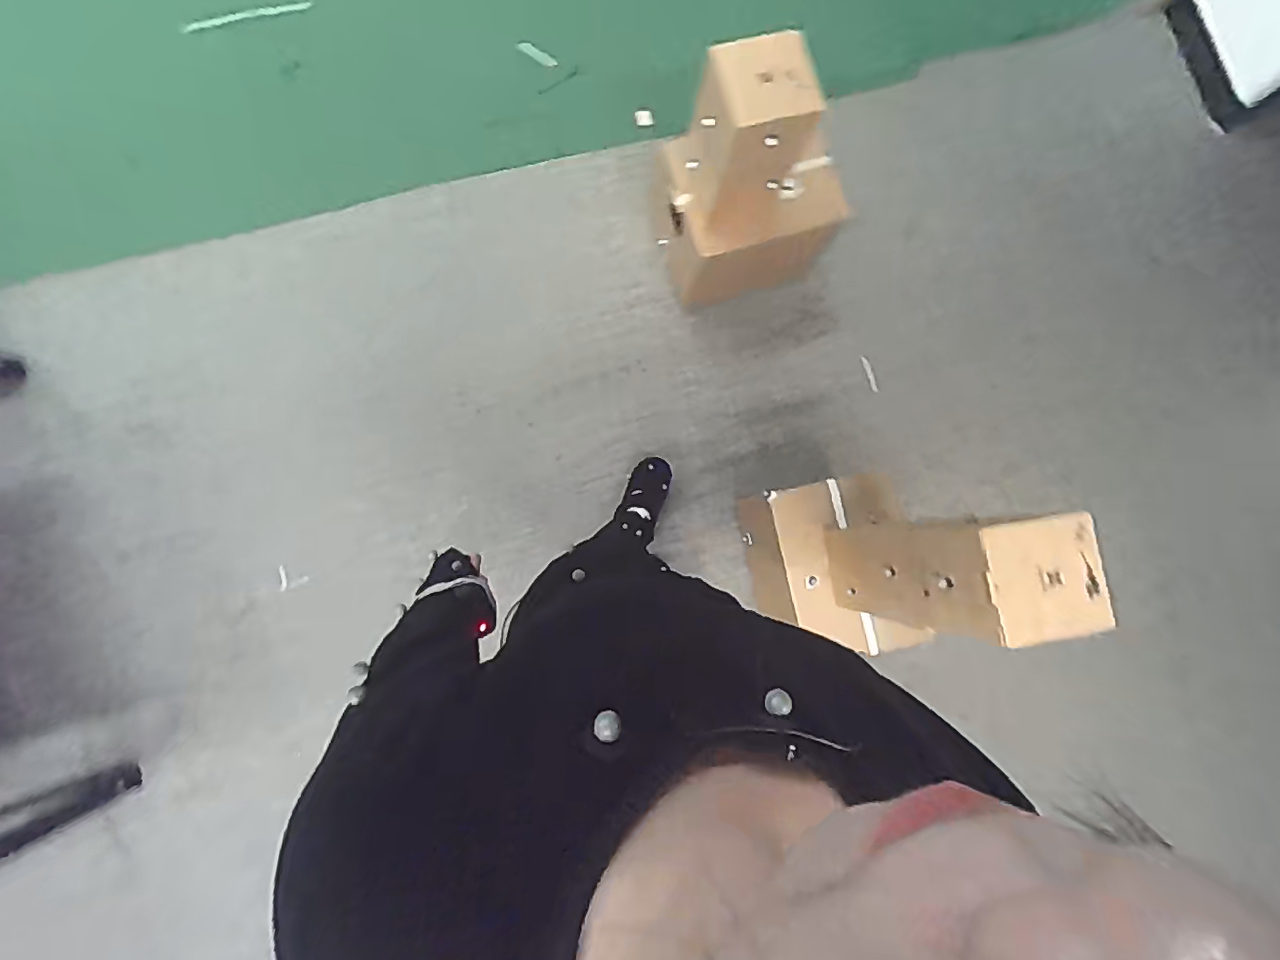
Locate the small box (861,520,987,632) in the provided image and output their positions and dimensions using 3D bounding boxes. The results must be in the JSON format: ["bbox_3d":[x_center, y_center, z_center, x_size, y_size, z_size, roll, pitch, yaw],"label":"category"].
[{"bbox_3d":[0.530,0.168,0.988,0.168,0.176,0.179,-6,84,-7],"label":"small box"}]

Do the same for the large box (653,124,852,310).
[{"bbox_3d":[0.281,-0.715,1.475,0.408,0.320,0.320,-17,85,-7],"label":"large box"}]

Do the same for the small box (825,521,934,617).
[{"bbox_3d":[0.517,0.183,1.151,0.168,0.176,0.179,-7,84,-7],"label":"small box"}]

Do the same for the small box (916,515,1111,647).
[{"bbox_3d":[0.550,0.147,0.827,0.179,0.176,0.168,-7,85,-7],"label":"small box"}]

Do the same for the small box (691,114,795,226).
[{"bbox_3d":[0.221,-0.705,1.223,0.179,0.176,0.168,-15,85,-7],"label":"small box"}]

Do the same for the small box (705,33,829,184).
[{"bbox_3d":[0.235,-0.715,1.058,0.179,0.176,0.168,-15,86,-7],"label":"small box"}]
